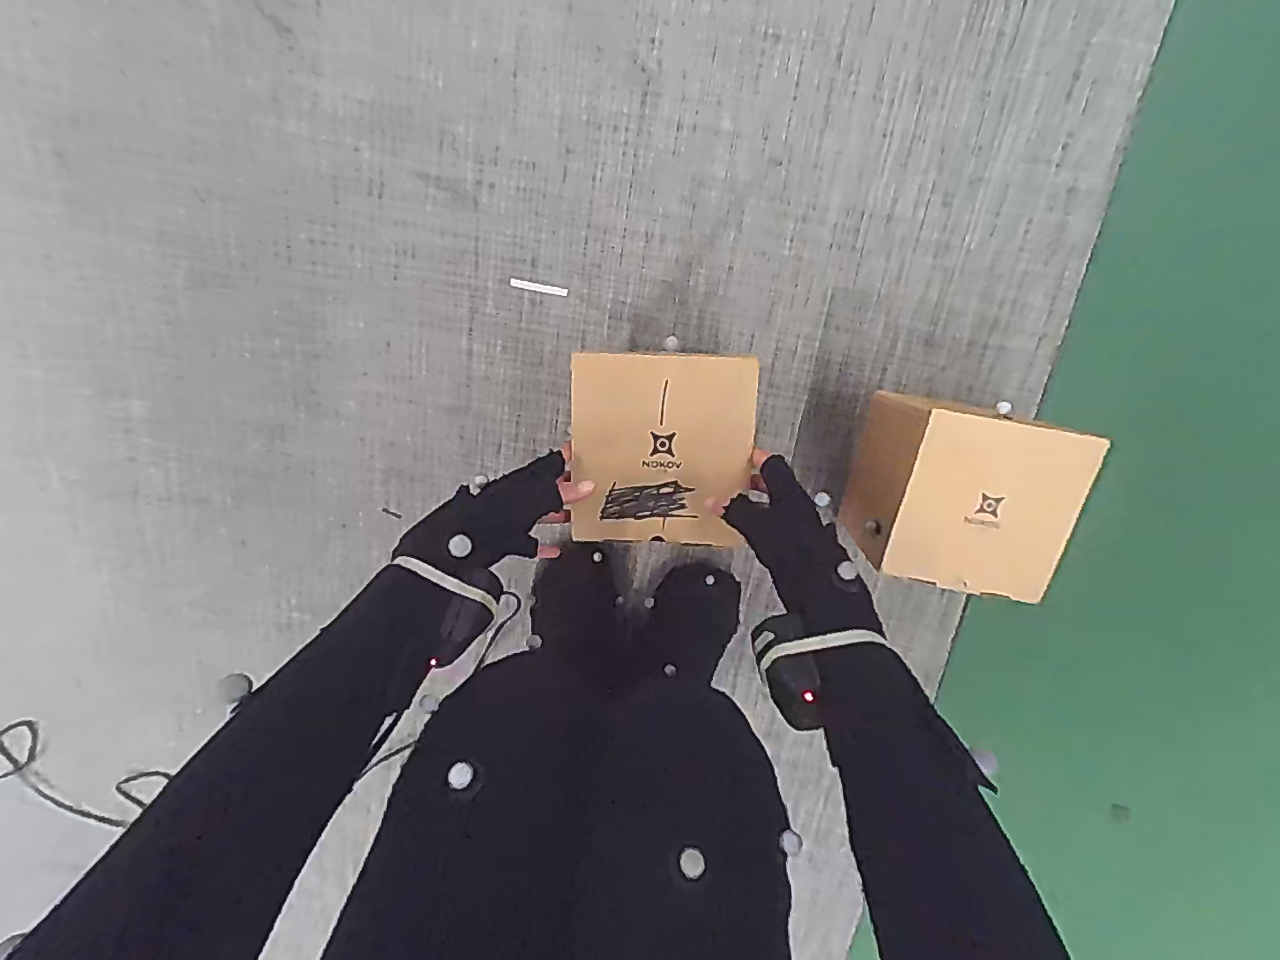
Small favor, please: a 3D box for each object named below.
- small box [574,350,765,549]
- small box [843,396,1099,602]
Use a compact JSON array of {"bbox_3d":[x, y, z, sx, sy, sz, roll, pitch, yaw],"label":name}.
[{"bbox_3d":[0.028,-0.042,0.566,0.168,0.176,0.179,3,103,2],"label":"small box"},{"bbox_3d":[0.348,0.008,0.612,0.168,0.176,0.179,11,106,3],"label":"small box"}]
